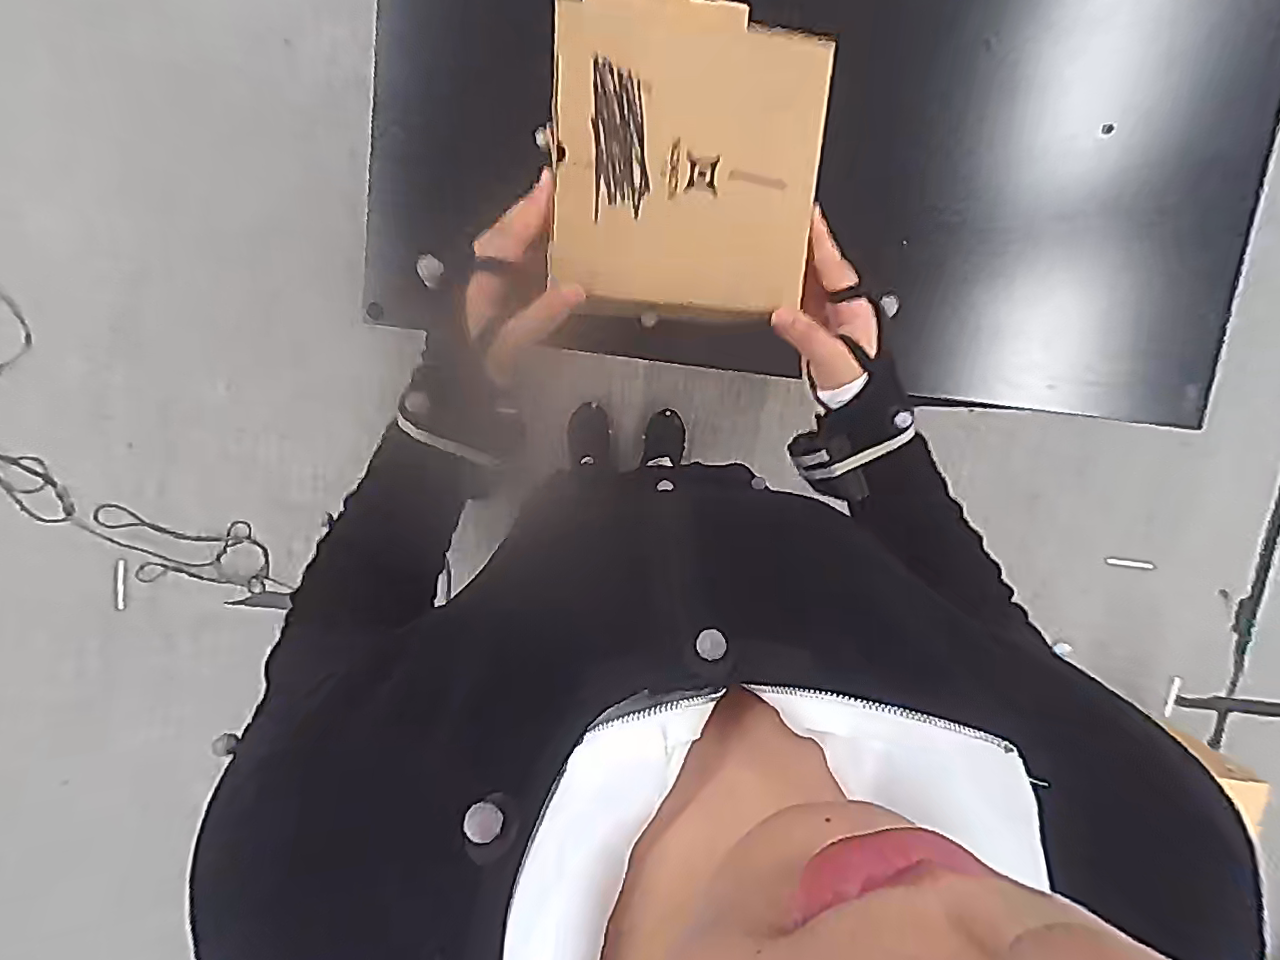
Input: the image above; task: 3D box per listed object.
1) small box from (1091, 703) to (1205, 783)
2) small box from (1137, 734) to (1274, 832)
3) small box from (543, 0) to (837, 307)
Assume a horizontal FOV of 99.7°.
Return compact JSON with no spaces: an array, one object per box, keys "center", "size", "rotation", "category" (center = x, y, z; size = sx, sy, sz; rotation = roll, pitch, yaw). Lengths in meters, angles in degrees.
[{"center":[1.534,0.801,1.646],"size":[0.179,0.176,0.168],"rotation":[7,99,-4],"category":"small box"},{"center":[1.538,0.823,1.481],"size":[0.179,0.176,0.168],"rotation":[8,98,-4],"category":"small box"},{"center":[0.018,-0.226,0.413],"size":[0.179,0.176,0.168],"rotation":[1,105,-10],"category":"small box"}]
